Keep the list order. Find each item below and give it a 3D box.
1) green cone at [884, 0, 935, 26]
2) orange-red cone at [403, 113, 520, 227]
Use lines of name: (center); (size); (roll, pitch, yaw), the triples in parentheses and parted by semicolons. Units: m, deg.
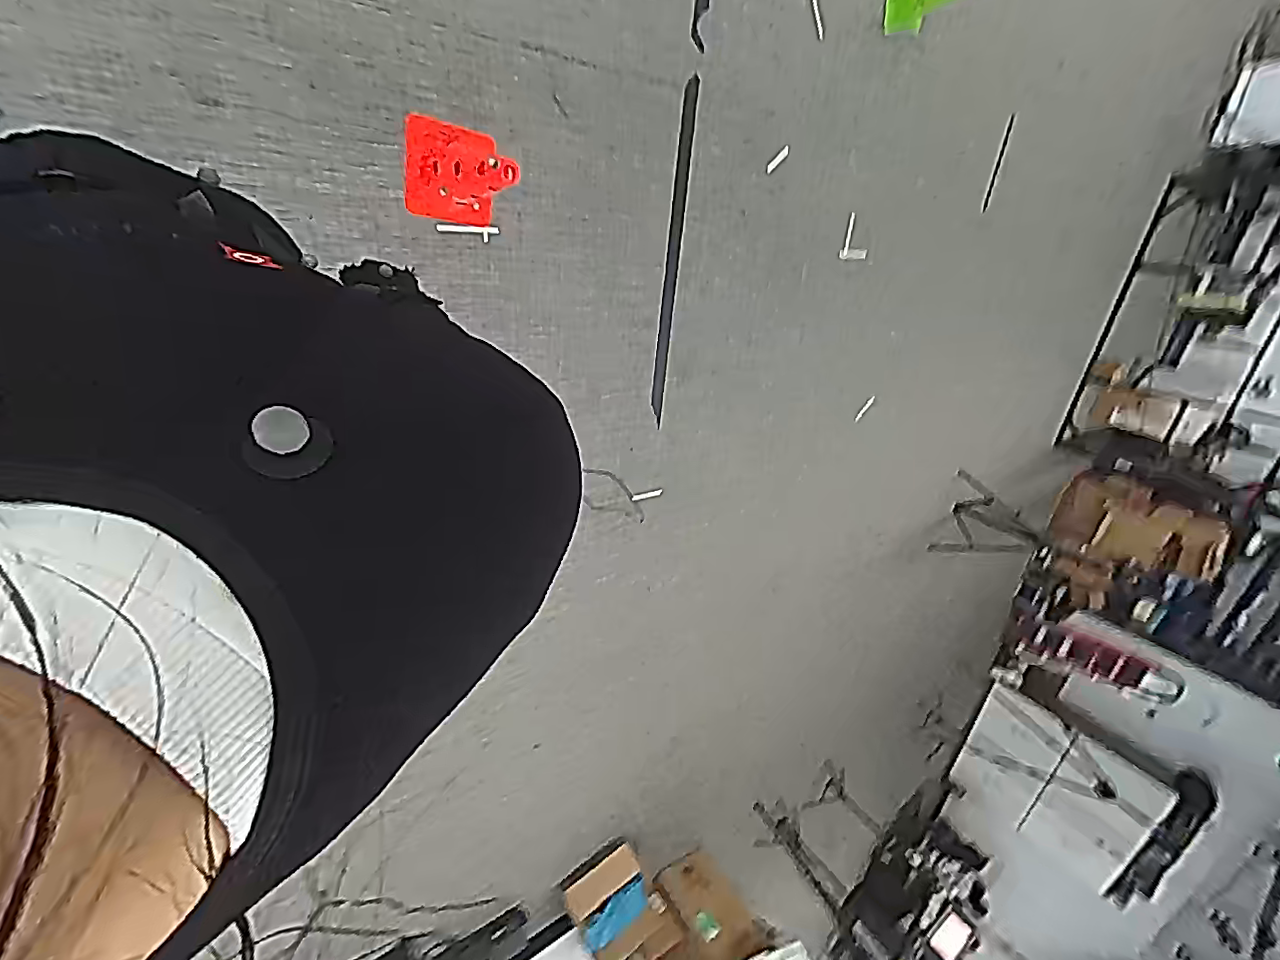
green cone: (0.971, -1.558, 1.653); (0.200, 0.368, 0.202); (-27, 129, -24)
orange-red cone: (-0.339, -0.639, 1.114); (0.198, 0.360, 0.199); (-5, 115, -37)
